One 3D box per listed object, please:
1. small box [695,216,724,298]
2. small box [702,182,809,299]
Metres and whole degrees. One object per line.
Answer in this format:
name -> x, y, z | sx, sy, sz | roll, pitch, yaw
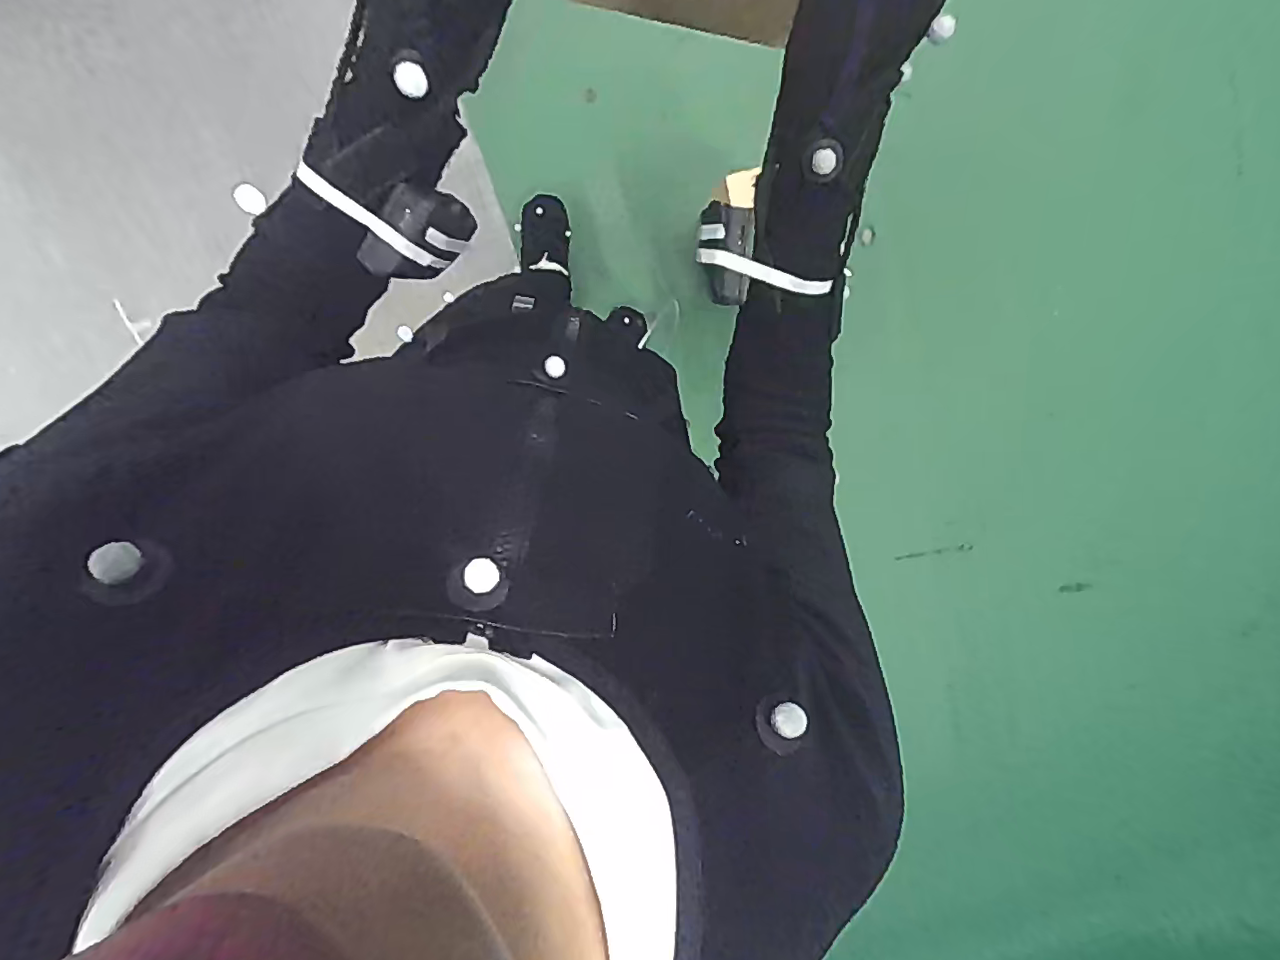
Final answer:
small box -> 0.231, -0.532, 1.249 | 0.168, 0.176, 0.179 | -15, 109, 3
small box -> 0.229, -0.476, 1.096 | 0.168, 0.176, 0.179 | -14, 108, 4
